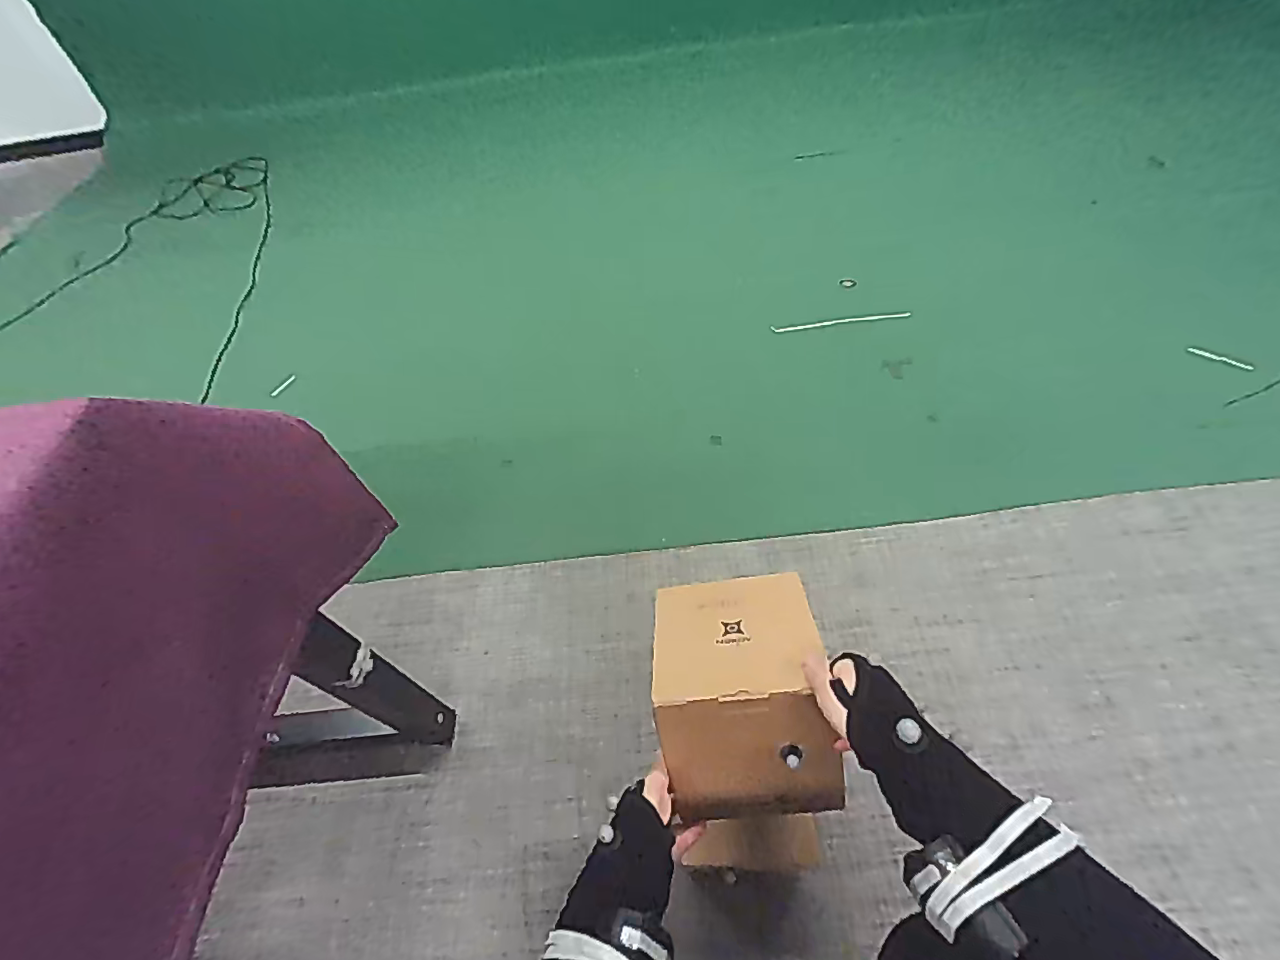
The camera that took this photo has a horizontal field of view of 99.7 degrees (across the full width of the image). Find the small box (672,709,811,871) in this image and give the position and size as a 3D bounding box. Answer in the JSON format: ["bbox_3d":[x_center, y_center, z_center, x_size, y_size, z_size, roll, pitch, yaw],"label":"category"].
[{"bbox_3d":[0.132,0.435,0.757,0.168,0.176,0.179,-2,50,4],"label":"small box"}]
